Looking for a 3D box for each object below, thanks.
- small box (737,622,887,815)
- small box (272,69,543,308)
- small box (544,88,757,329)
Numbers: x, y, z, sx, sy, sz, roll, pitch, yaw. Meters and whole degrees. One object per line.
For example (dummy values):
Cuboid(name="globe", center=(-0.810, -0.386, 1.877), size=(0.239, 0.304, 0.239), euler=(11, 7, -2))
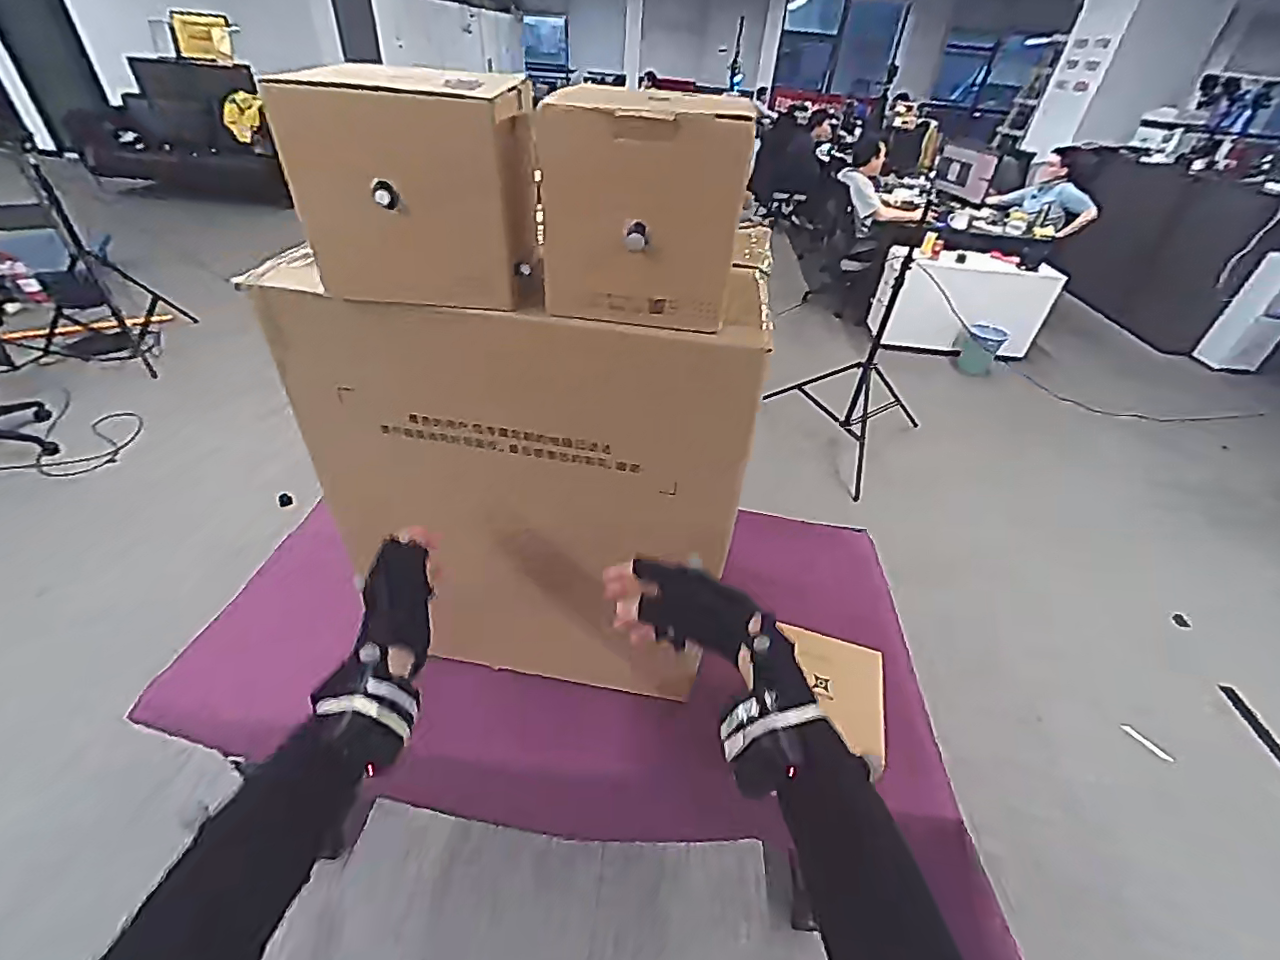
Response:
Cuboid(name="small box", center=(0.245, 0.346, 0.787), size=(0.168, 0.176, 0.179), euler=(15, 37, 11))
Cuboid(name="small box", center=(-0.192, -0.276, 0.517), size=(0.179, 0.176, 0.168), euler=(3, 40, -1))
Cuboid(name="small box", center=(0.013, -0.261, 0.519), size=(0.168, 0.176, 0.179), euler=(8, 40, 3))
